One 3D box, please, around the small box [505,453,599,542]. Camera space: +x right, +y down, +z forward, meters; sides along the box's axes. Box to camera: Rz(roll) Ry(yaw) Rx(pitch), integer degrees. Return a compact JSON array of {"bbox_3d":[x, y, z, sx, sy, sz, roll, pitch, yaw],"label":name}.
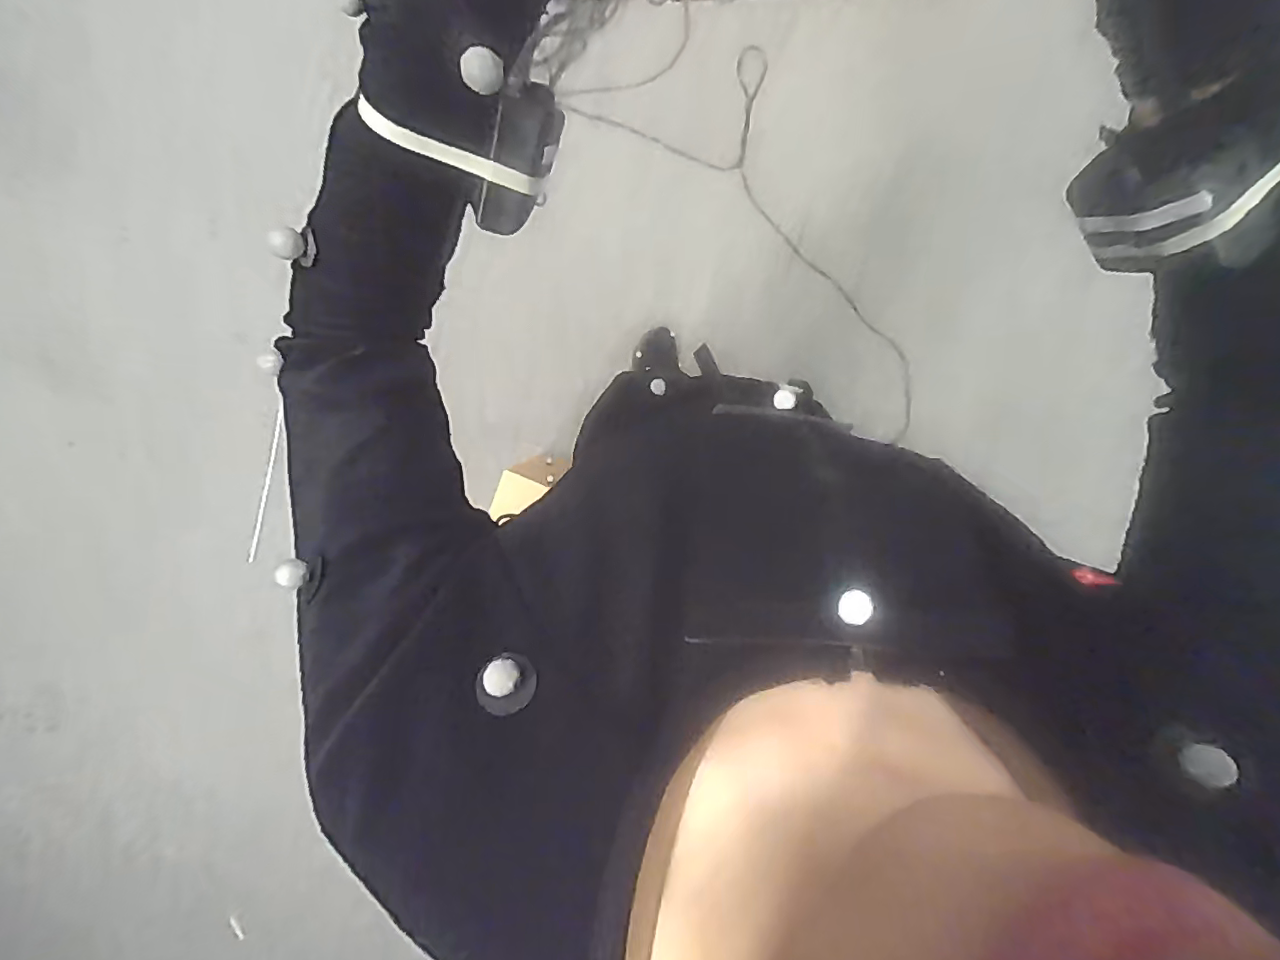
[{"bbox_3d":[-0.225,0.037,1.428,0.179,0.176,0.168,24,101,-1],"label":"small box"}]
